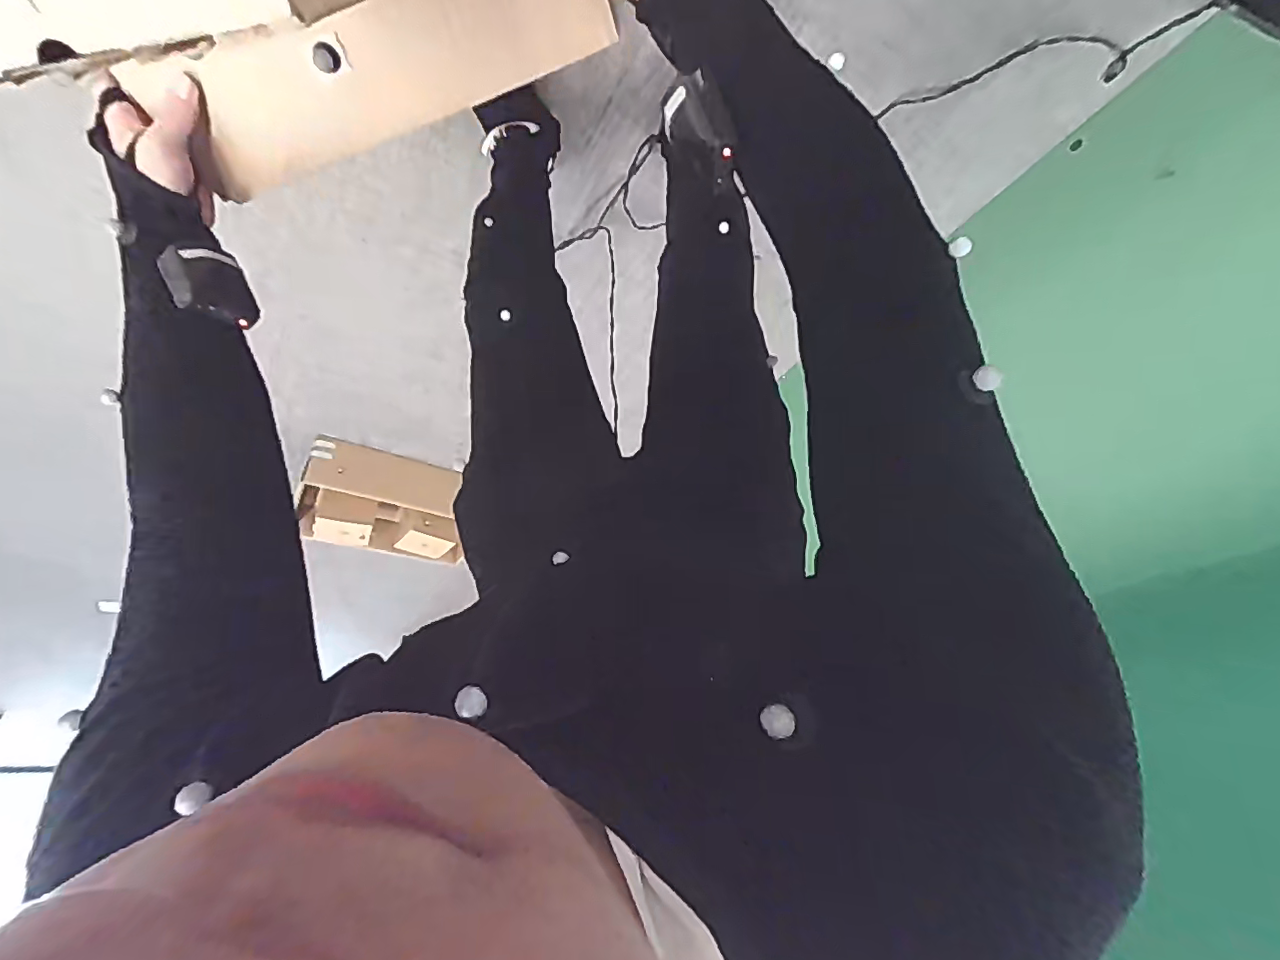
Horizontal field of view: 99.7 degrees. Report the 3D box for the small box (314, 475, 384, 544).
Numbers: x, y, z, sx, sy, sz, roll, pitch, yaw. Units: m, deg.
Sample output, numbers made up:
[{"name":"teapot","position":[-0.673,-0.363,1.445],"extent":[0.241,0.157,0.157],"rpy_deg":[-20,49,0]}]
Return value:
[{"name":"small box","position":[-1.022,0.102,1.901],"extent":[0.179,0.176,0.168],"rpy_deg":[14,143,-26]}]
